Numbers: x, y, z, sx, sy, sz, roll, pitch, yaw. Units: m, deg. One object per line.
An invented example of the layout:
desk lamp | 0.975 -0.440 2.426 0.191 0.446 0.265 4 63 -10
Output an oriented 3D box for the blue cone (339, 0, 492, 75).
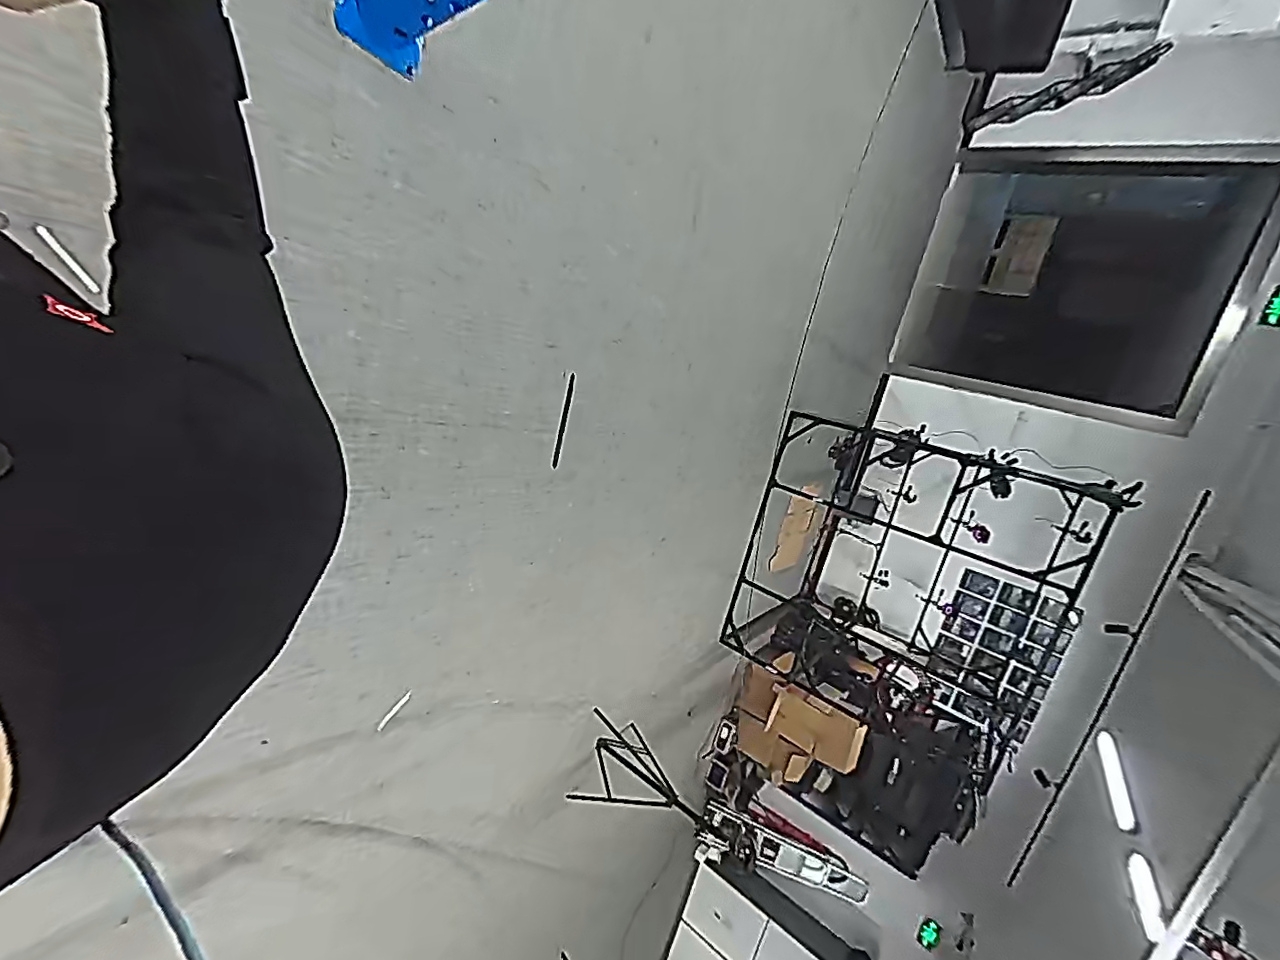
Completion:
blue cone | -0.460 -1.030 1.161 0.192 0.380 0.193 2 108 -57
